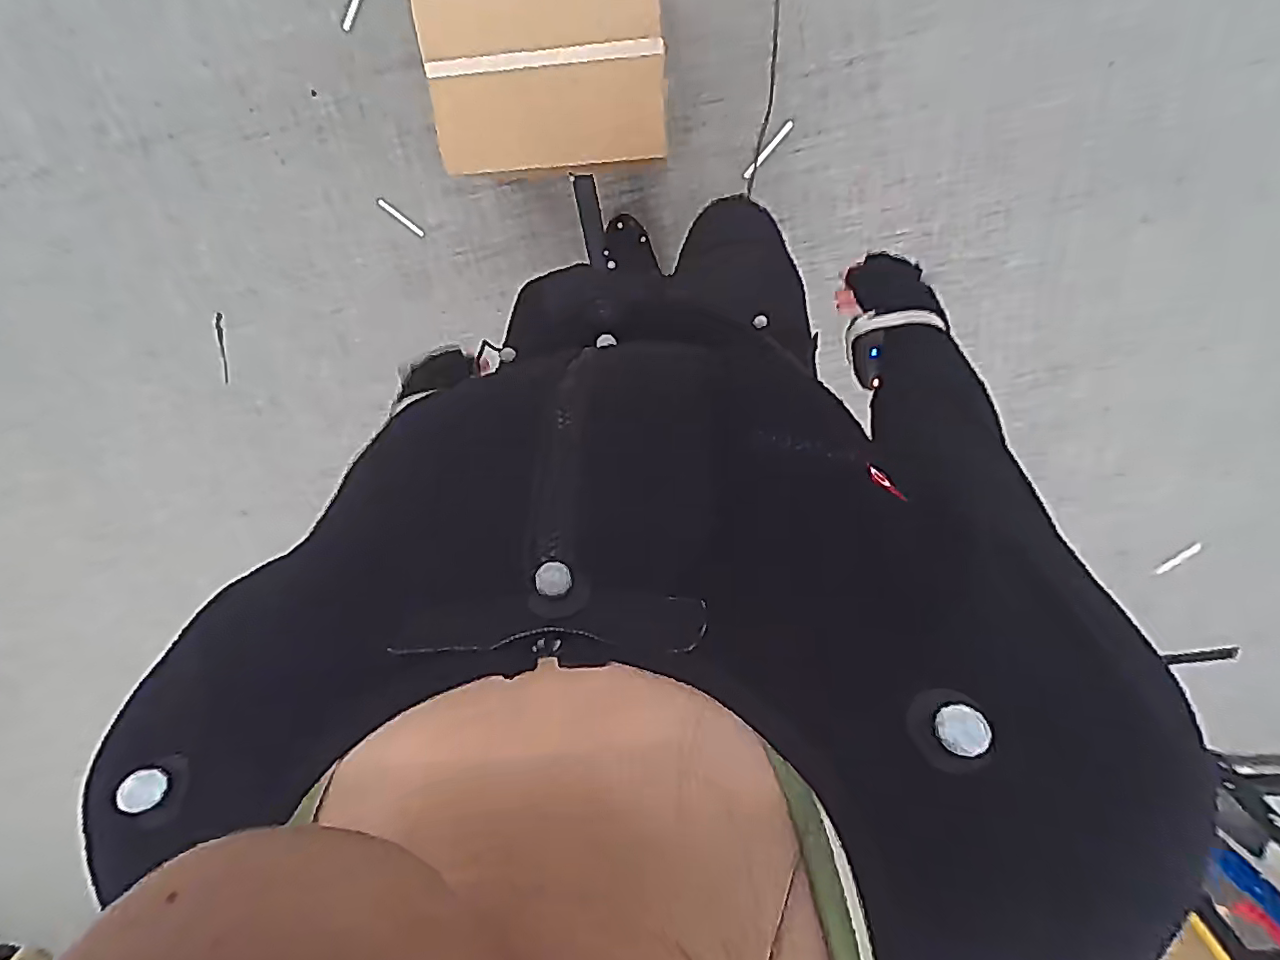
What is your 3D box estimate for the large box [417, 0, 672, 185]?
[{"bbox_3d":[-0.148,-0.762,1.032,0.408,0.320,0.320,-2,118,5],"label":"large box"}]
